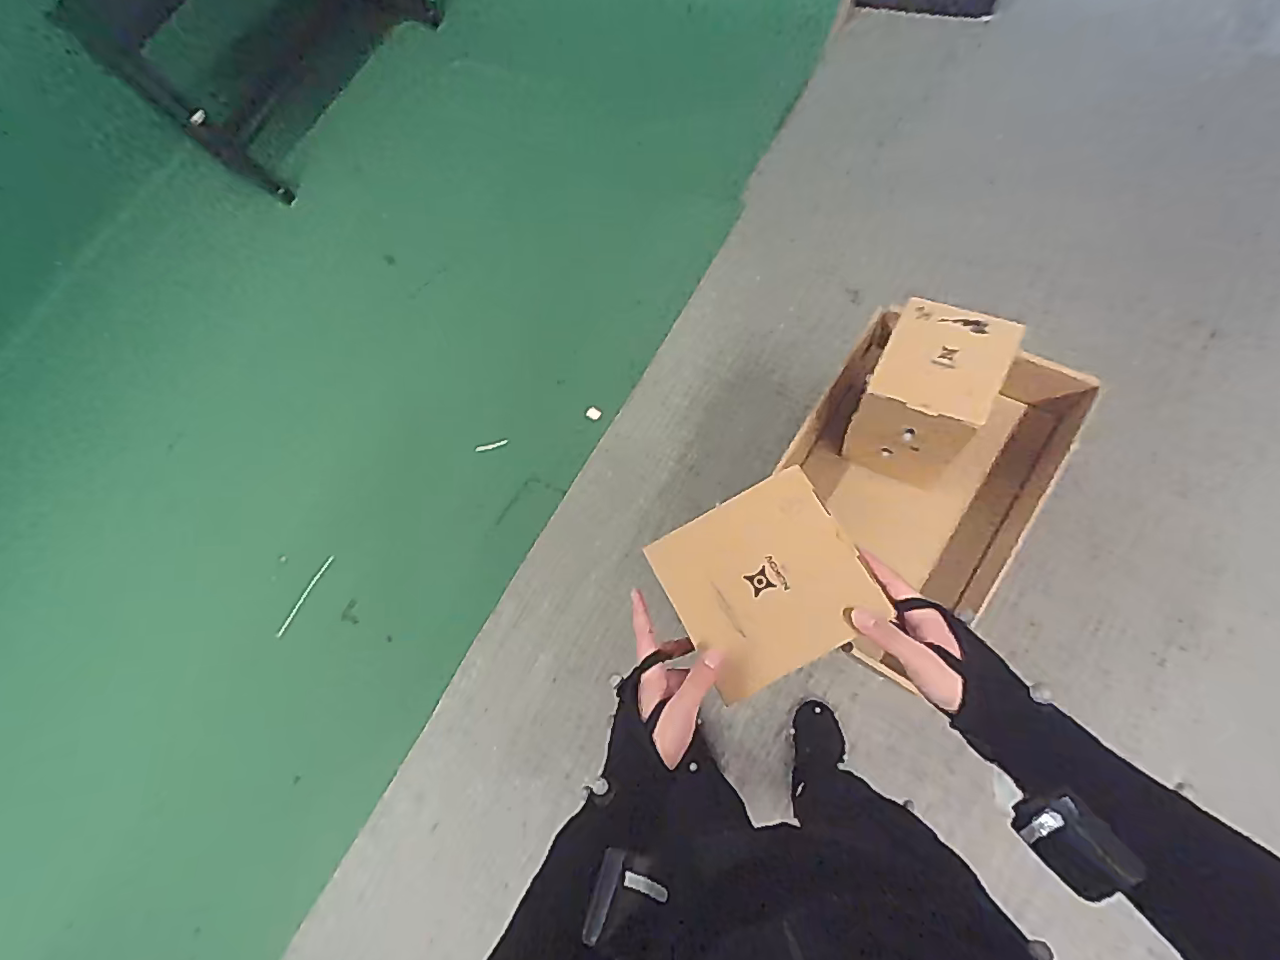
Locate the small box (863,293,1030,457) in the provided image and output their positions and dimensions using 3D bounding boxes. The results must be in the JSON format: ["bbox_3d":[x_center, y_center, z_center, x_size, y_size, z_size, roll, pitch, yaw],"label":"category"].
[{"bbox_3d":[0.468,-0.157,0.856,0.168,0.176,0.179,25,82,21],"label":"small box"}]

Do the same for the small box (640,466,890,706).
[{"bbox_3d":[0.123,0.112,0.573,0.179,0.176,0.168,-29,71,3],"label":"small box"}]
